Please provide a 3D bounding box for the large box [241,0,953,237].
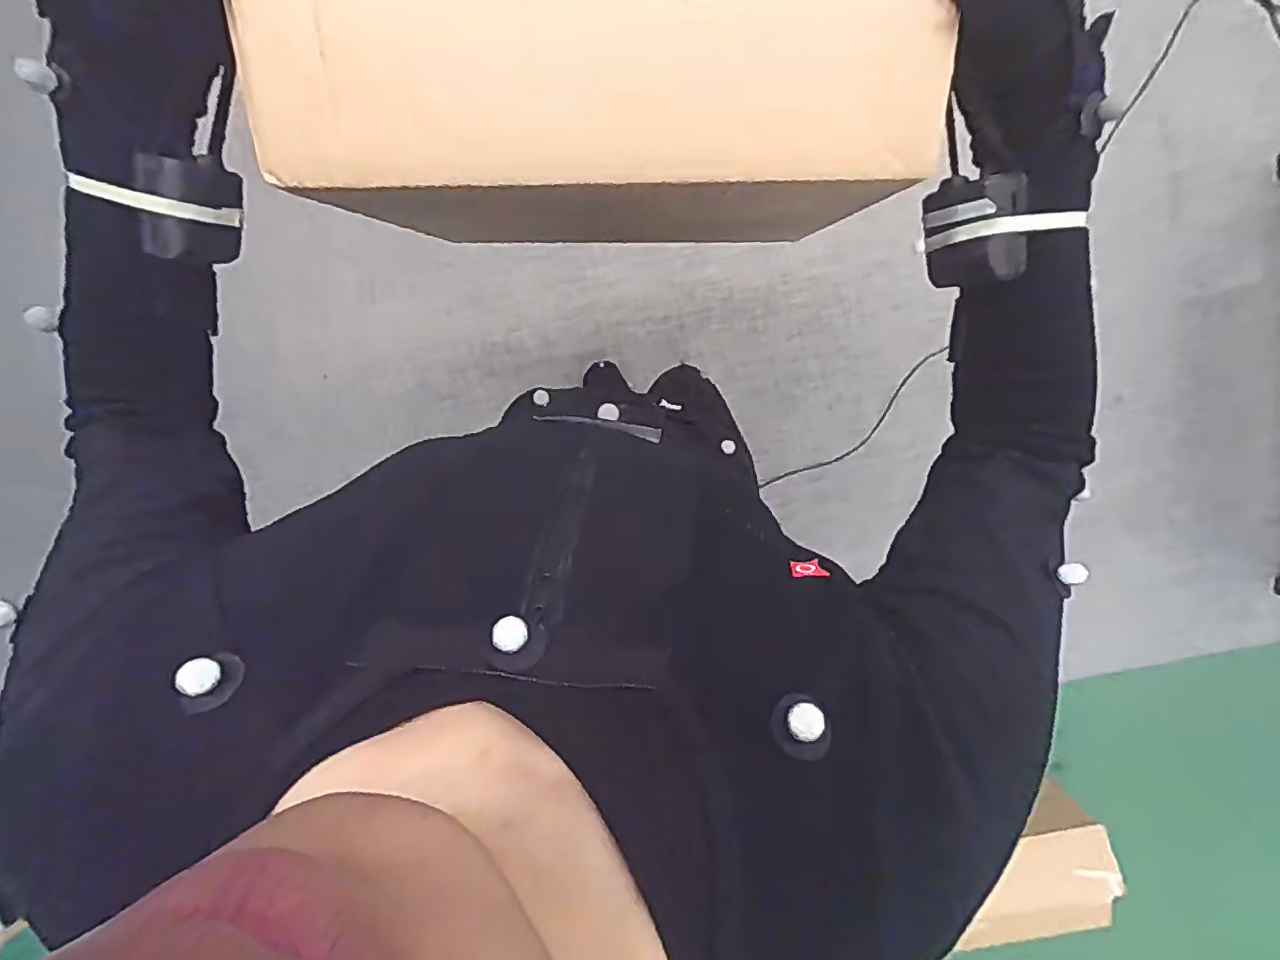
[{"bbox_3d":[-0.025,-0.379,0.420,0.408,0.320,0.320,0,109,1],"label":"large box"}]
